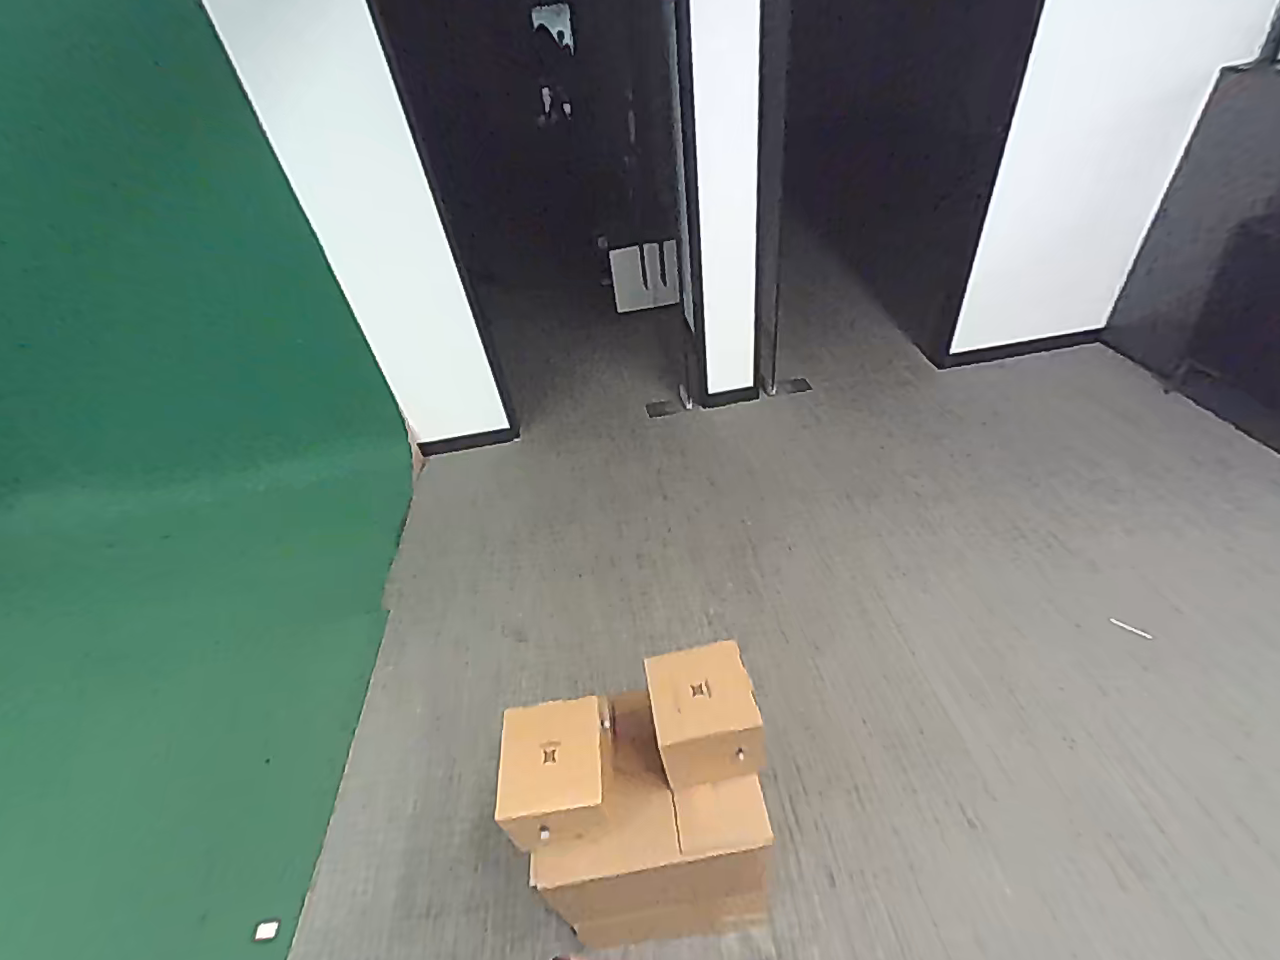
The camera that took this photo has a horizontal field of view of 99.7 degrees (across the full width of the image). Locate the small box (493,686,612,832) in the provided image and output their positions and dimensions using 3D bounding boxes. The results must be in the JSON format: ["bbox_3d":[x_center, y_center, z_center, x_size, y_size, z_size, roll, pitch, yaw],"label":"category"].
[{"bbox_3d":[-0.143,0.487,0.936,0.168,0.176,0.179,-7,42,0],"label":"small box"}]

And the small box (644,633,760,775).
[{"bbox_3d":[0.111,0.408,0.982,0.179,0.176,0.168,-11,39,0],"label":"small box"}]
